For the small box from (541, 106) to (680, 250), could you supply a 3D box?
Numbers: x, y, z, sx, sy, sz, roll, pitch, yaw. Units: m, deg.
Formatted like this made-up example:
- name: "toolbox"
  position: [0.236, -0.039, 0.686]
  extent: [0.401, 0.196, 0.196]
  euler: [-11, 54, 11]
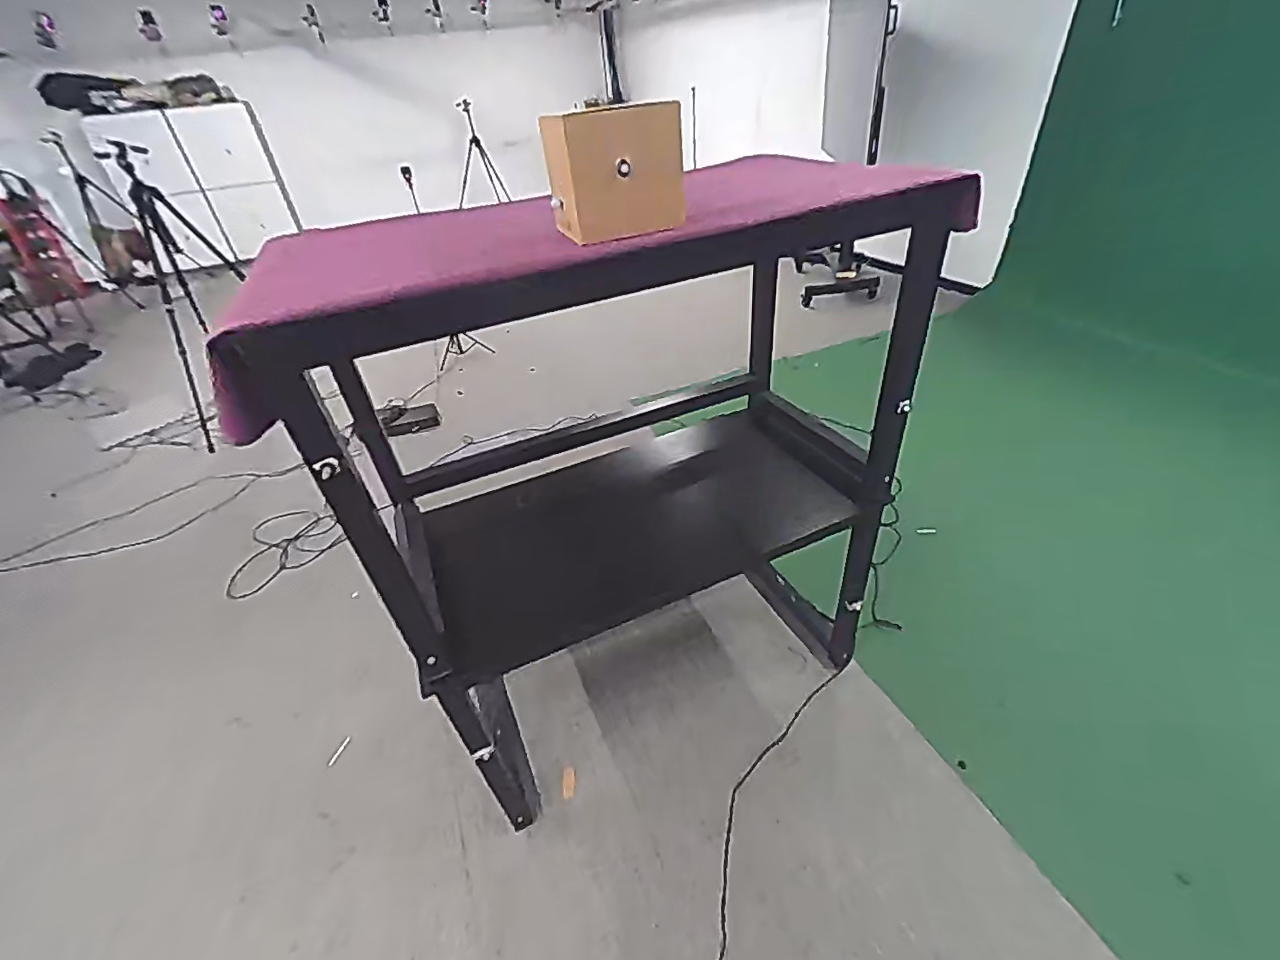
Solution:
- name: "small box"
  position: [-0.043, -0.479, 0.855]
  extent: [0.179, 0.176, 0.168]
  euler: [-17, 36, -12]
